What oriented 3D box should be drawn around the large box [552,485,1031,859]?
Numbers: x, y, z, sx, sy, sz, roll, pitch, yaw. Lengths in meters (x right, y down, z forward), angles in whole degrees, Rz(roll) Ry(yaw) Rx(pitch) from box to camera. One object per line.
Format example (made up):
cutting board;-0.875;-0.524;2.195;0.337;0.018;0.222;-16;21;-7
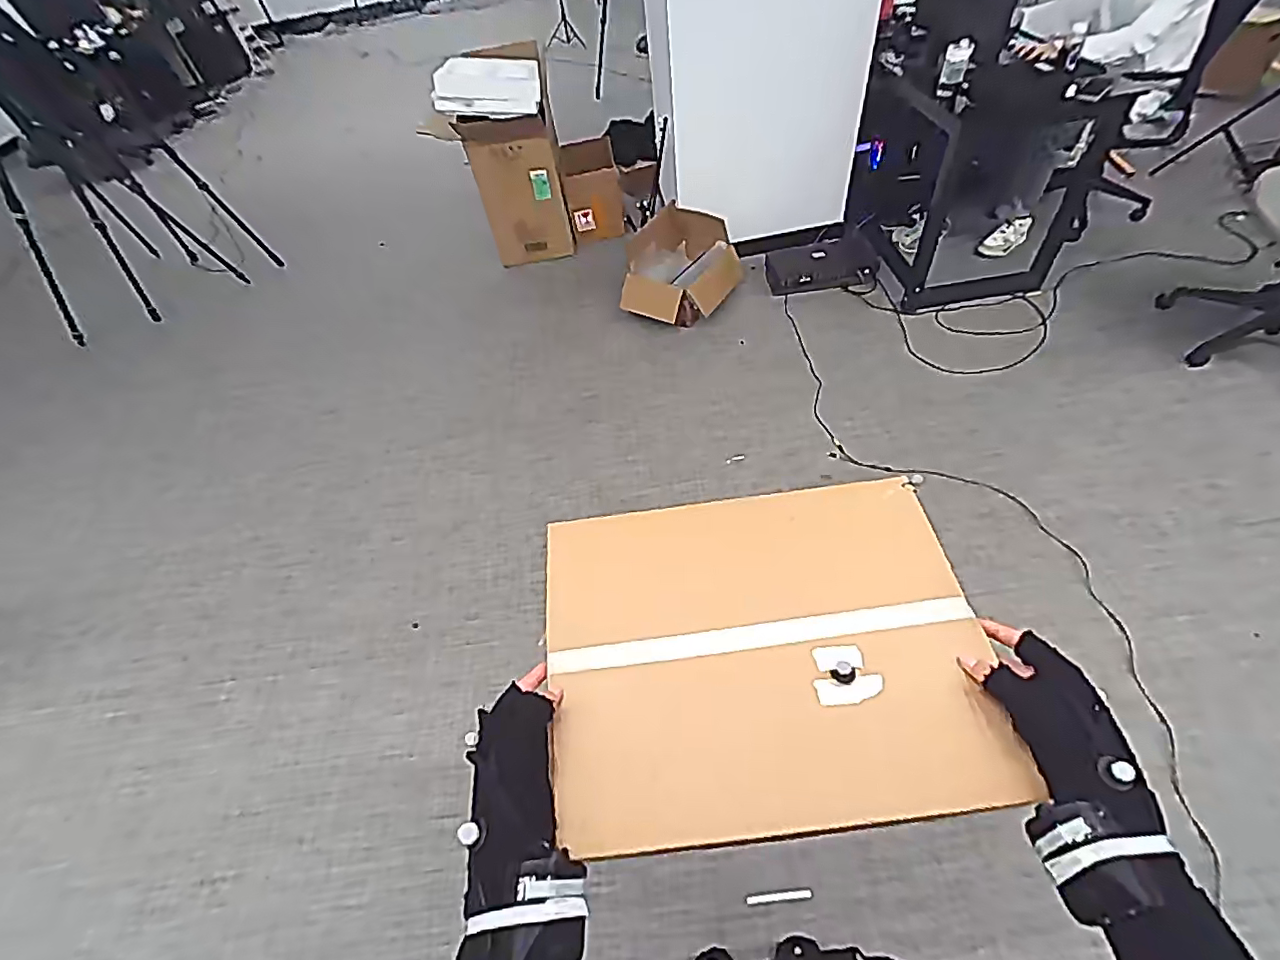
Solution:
large box;0.123;0.242;0.650;0.408;0.320;0.320;-8;55;1
